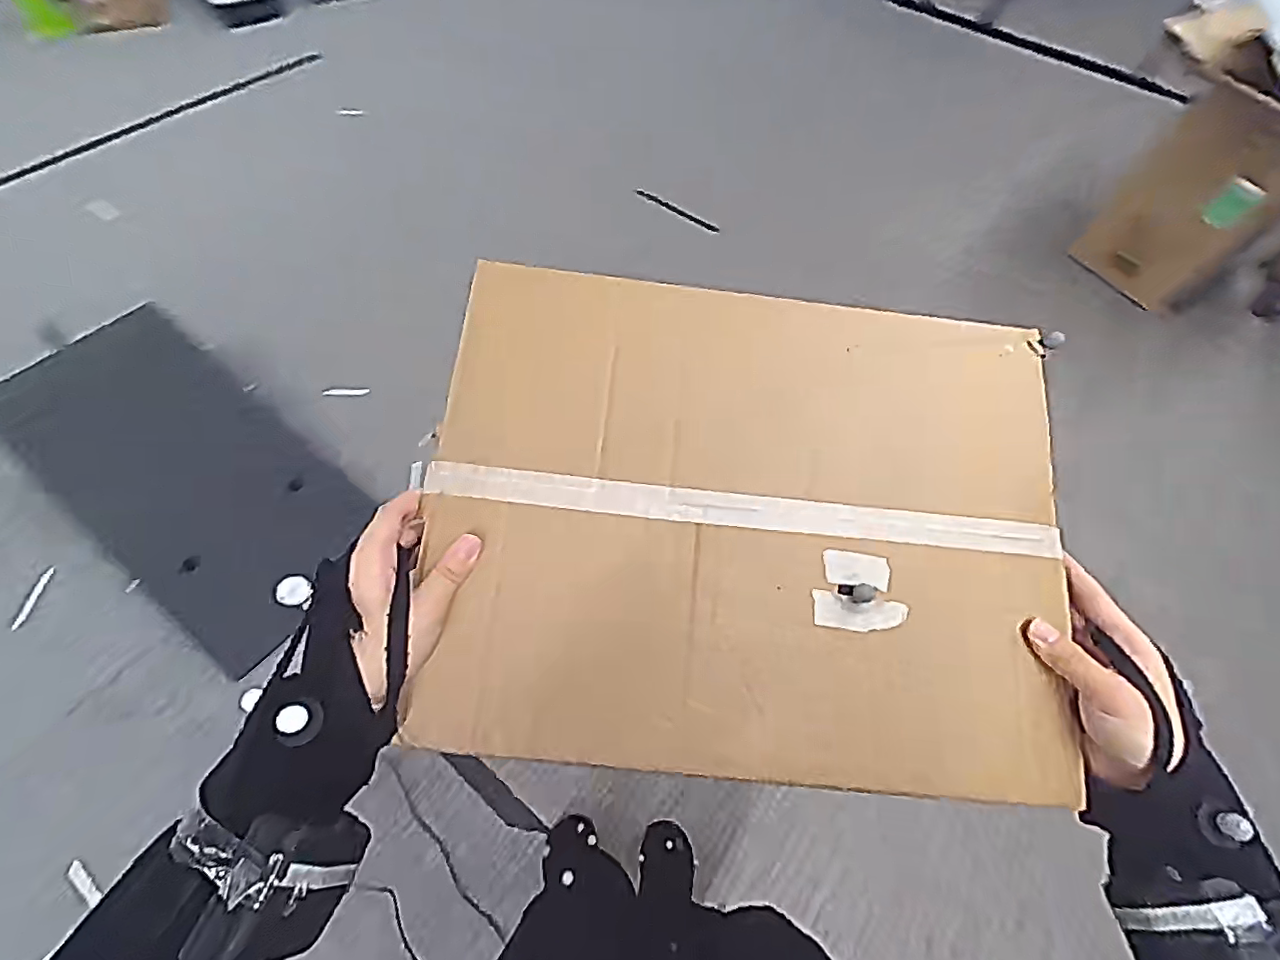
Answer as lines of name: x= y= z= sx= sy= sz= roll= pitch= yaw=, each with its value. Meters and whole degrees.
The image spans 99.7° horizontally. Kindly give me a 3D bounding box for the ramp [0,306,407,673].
ramp: x=-1.138 y=-0.026 z=1.407 sx=0.991 sy=0.206 sz=0.509 roll=35 pitch=63 yaw=15
